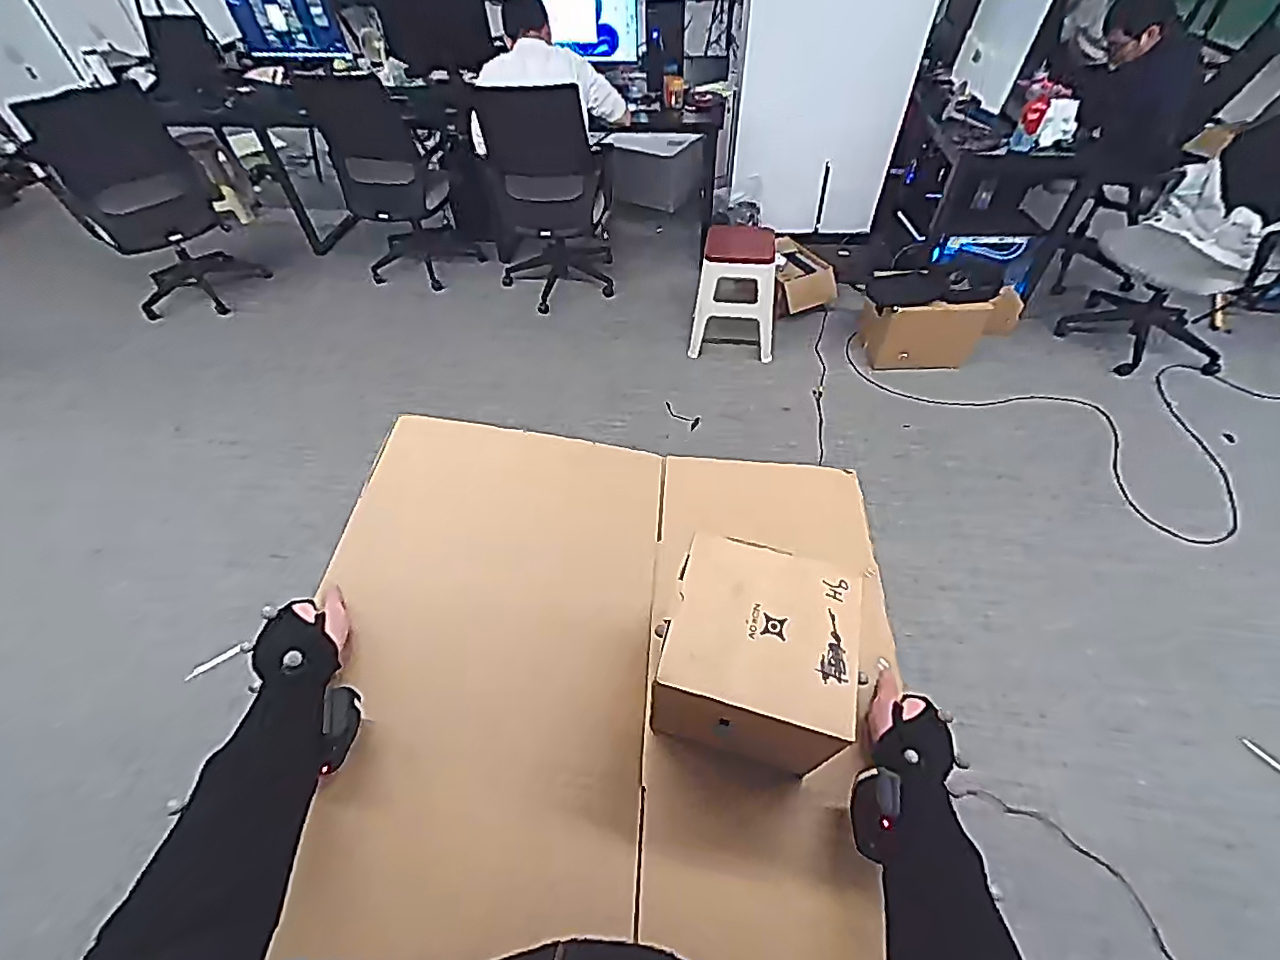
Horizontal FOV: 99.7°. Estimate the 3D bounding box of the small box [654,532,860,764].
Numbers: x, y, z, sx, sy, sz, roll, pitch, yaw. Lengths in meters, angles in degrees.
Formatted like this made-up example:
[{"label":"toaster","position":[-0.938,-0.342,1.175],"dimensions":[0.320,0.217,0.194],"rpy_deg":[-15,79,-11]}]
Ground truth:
[{"label":"small box","position":[0.119,0.184,0.580],"dimensions":[0.179,0.176,0.168],"rpy_deg":[13,54,10]}]
